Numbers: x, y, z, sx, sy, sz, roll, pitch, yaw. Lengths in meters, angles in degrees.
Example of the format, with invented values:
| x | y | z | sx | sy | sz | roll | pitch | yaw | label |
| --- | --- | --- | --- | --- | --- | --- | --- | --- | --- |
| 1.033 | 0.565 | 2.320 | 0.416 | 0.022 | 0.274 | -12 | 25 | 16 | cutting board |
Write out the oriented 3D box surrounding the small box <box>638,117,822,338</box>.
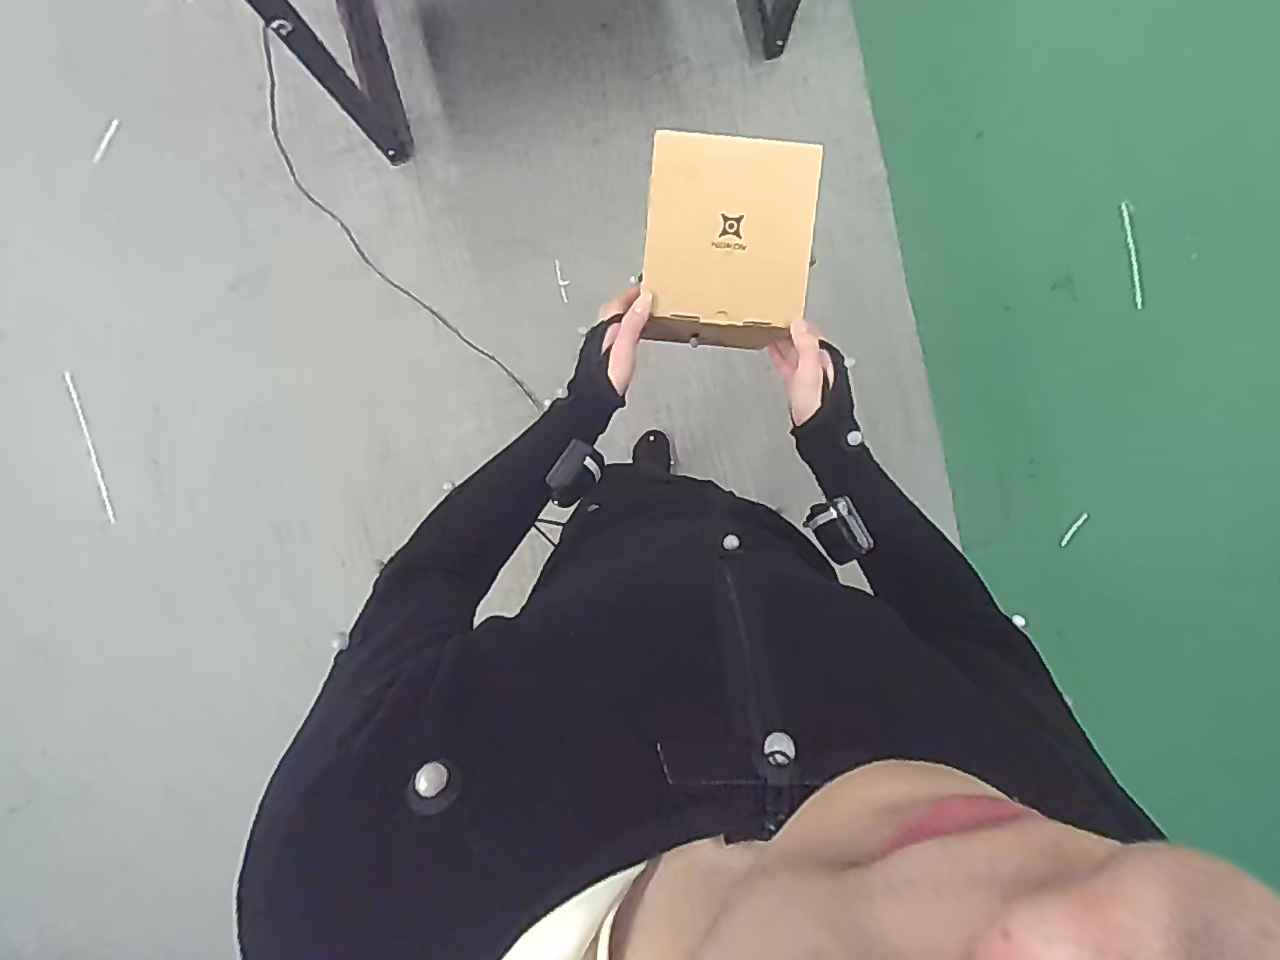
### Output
| x | y | z | sx | sy | sz | roll | pitch | yaw | label |
| --- | --- | --- | --- | --- | --- | --- | --- | --- | --- |
| 0.086 | -0.265 | 0.607 | 0.168 | 0.176 | 0.179 | 4 | 98 | -2 | small box |
